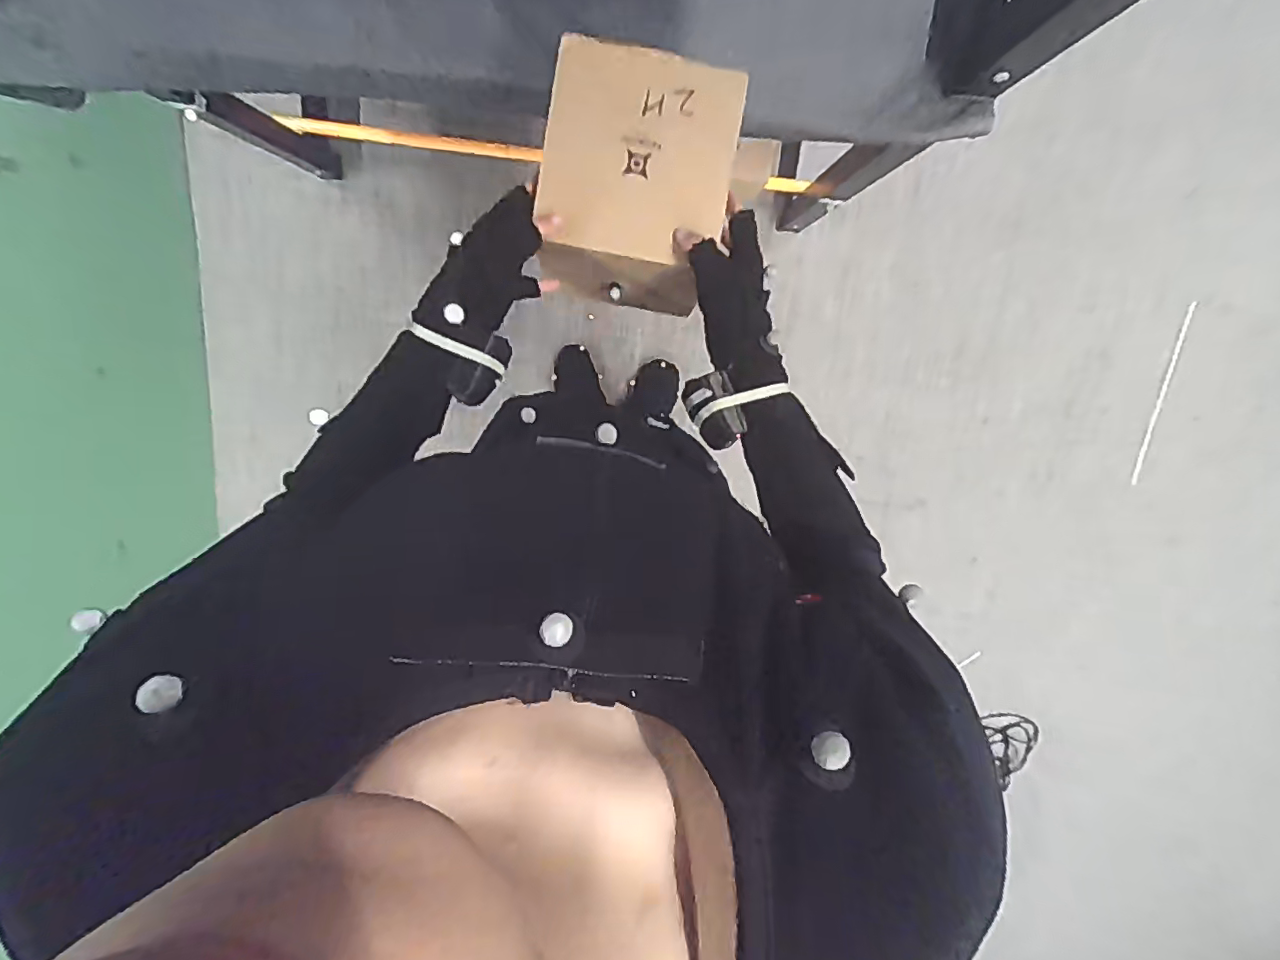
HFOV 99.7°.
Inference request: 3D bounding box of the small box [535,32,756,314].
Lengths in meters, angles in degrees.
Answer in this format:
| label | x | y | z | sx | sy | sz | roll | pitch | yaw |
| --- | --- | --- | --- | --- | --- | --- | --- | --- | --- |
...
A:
| label | x | y | z | sx | sy | sz | roll | pitch | yaw |
| --- | --- | --- | --- | --- | --- | --- | --- | --- | --- |
| small box | 0.001 | -0.281 | 0.541 | 0.168 | 0.176 | 0.179 | 10 | 92 | -4 |
